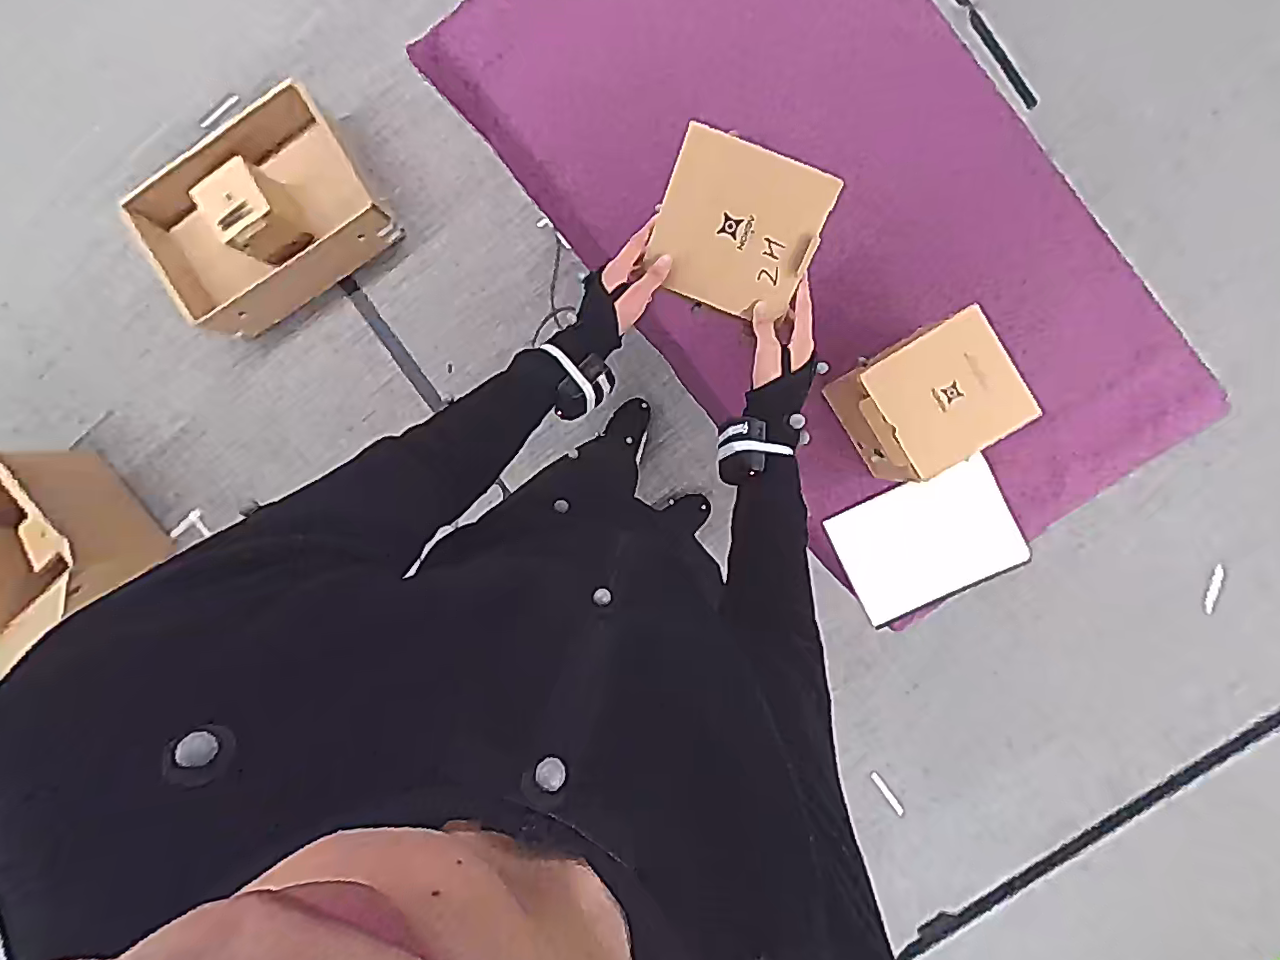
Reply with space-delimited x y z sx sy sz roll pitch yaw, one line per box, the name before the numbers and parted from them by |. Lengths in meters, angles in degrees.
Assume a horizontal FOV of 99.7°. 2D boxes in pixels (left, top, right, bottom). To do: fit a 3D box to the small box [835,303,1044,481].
small box | 0.398 -0.113 0.761 0.179 0.176 0.168 -31 91 5
